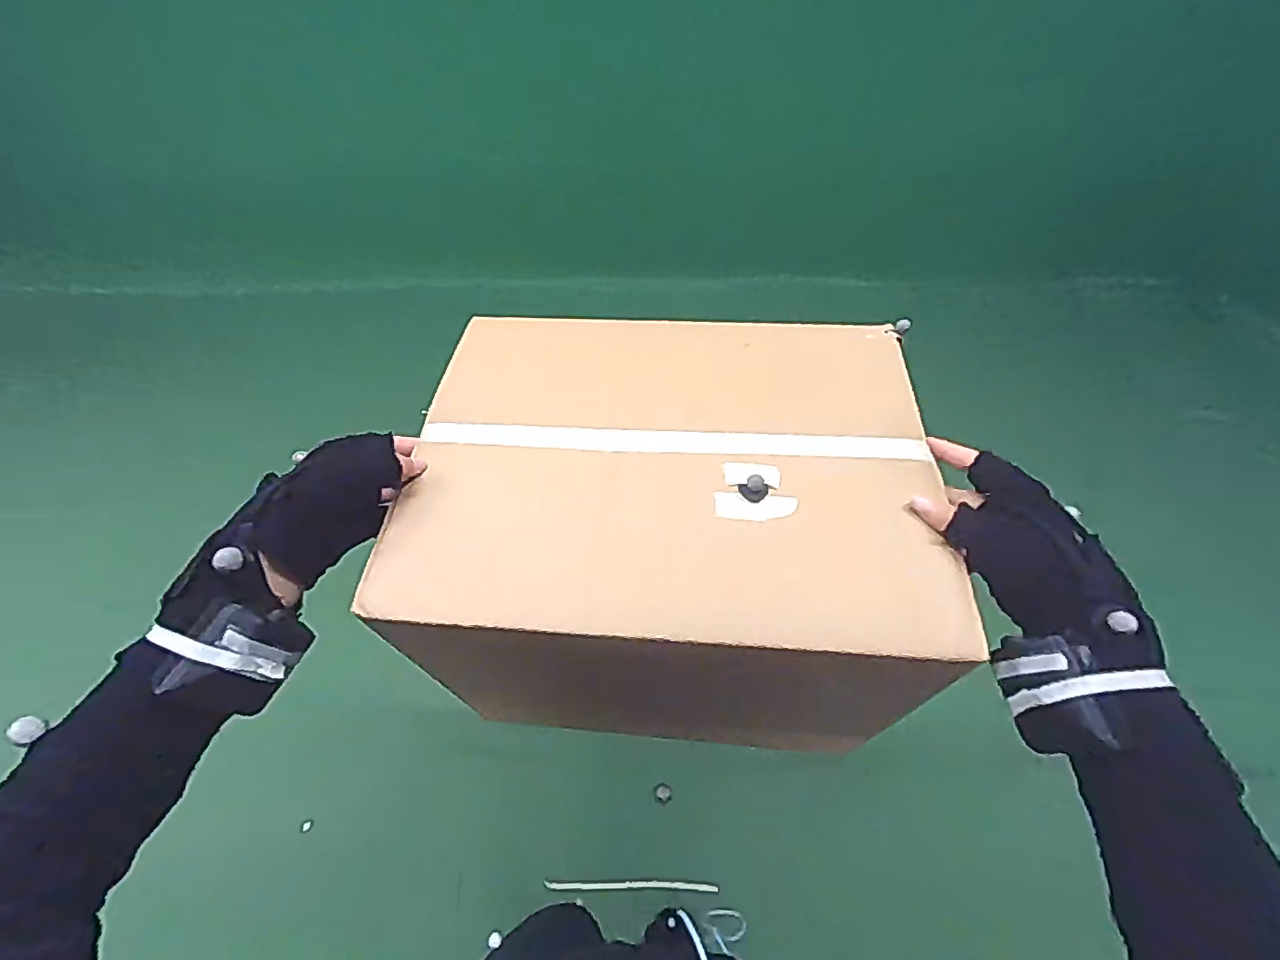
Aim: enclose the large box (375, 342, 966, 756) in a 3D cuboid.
[{"bbox_3d":[0.029,0.077,0.564,0.408,0.320,0.320,3,54,6],"label":"large box"}]
